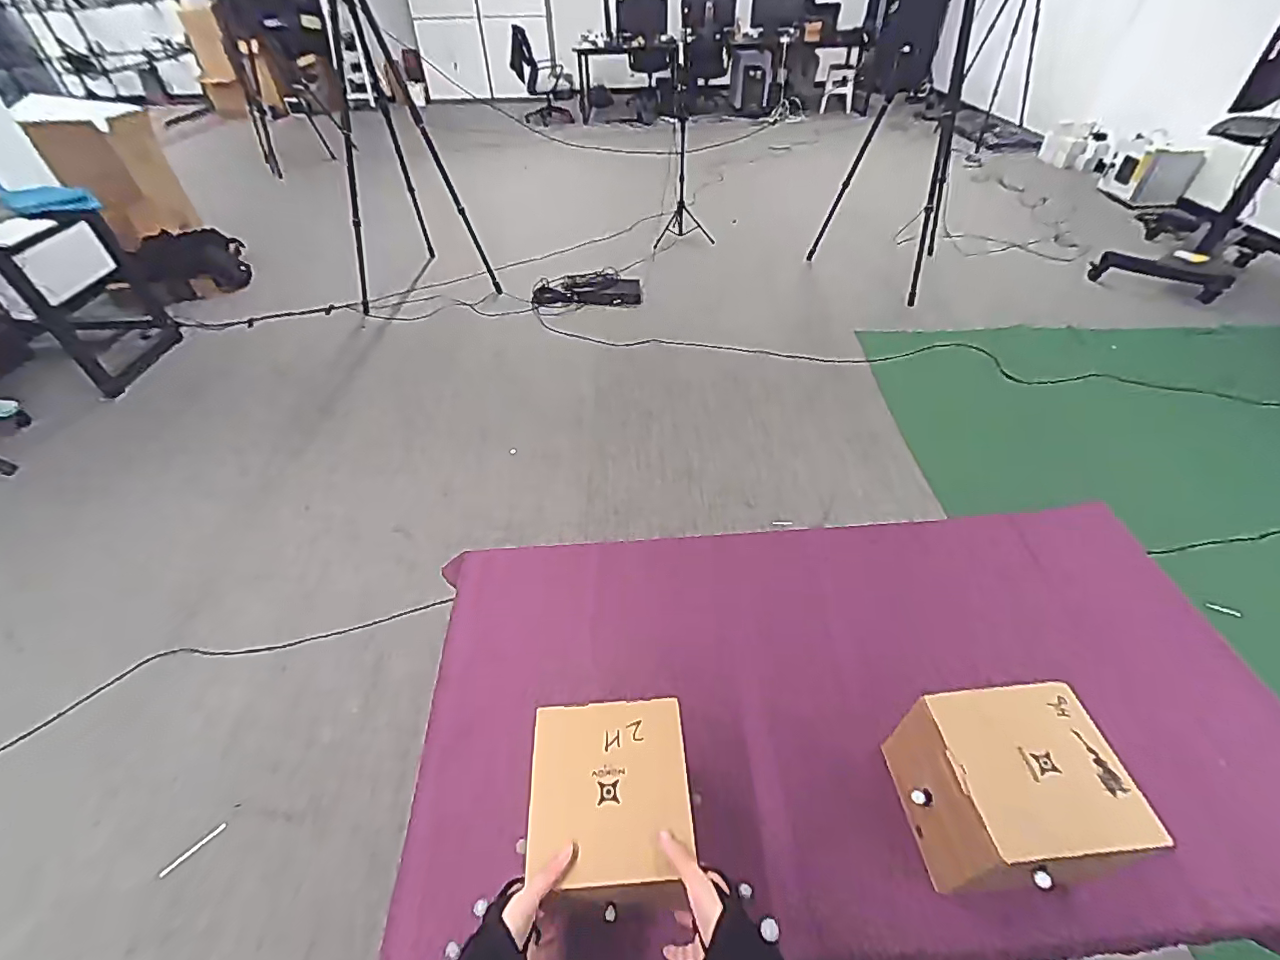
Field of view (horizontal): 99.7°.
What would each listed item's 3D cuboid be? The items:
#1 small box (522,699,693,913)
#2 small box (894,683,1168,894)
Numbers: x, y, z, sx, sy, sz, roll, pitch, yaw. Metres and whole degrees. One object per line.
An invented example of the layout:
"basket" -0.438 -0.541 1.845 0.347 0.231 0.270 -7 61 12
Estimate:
"small box" -0.031 0.375 0.619 0.168 0.176 0.179 -3 43 -2
"small box" 0.416 0.356 0.622 0.179 0.176 0.168 -5 44 -1
